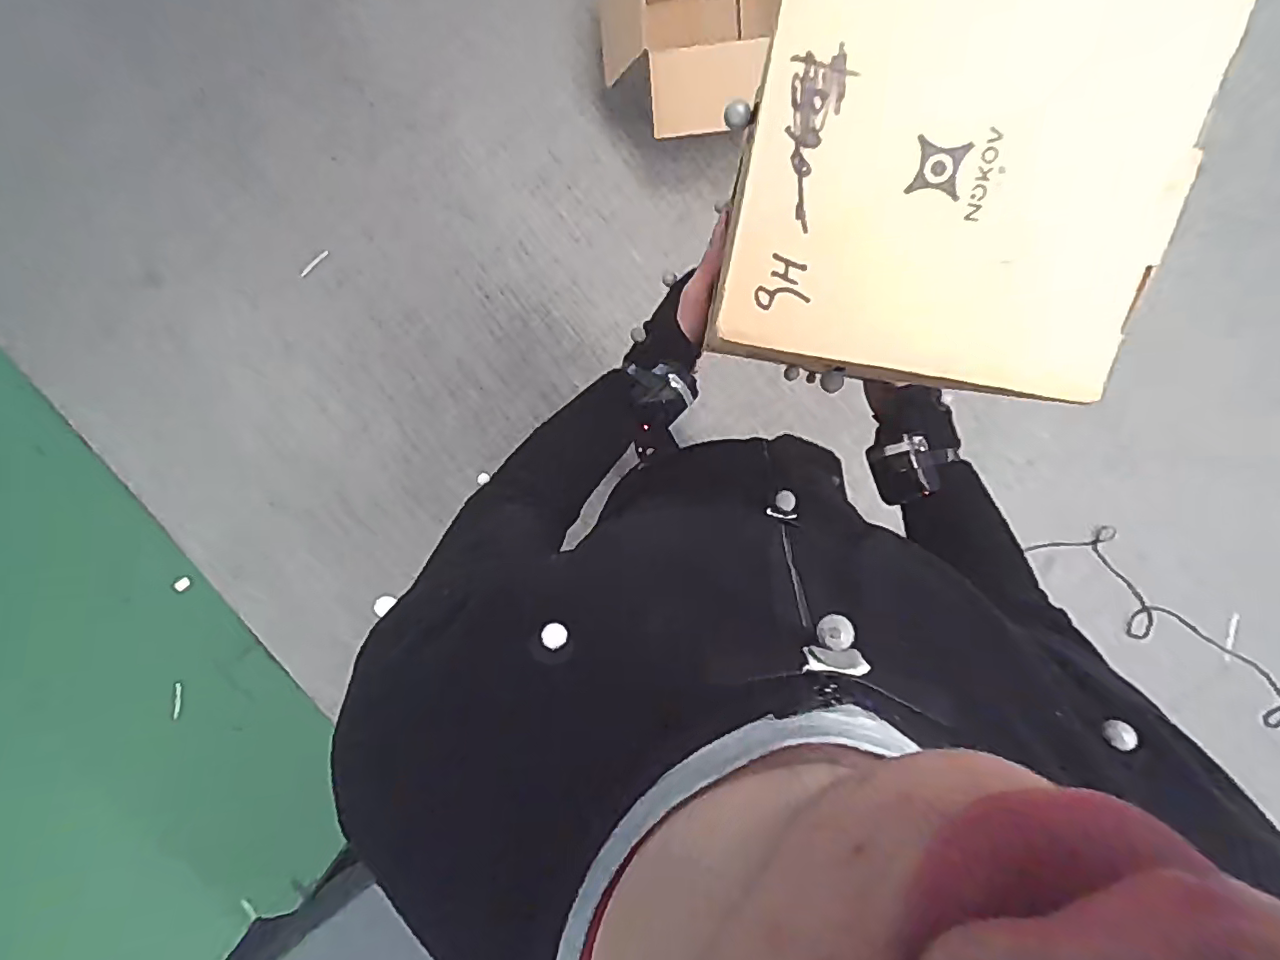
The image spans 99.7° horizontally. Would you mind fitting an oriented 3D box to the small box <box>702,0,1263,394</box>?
[{"bbox_3d":[0.137,-0.151,0.294,0.179,0.176,0.168,12,104,2],"label":"small box"}]
